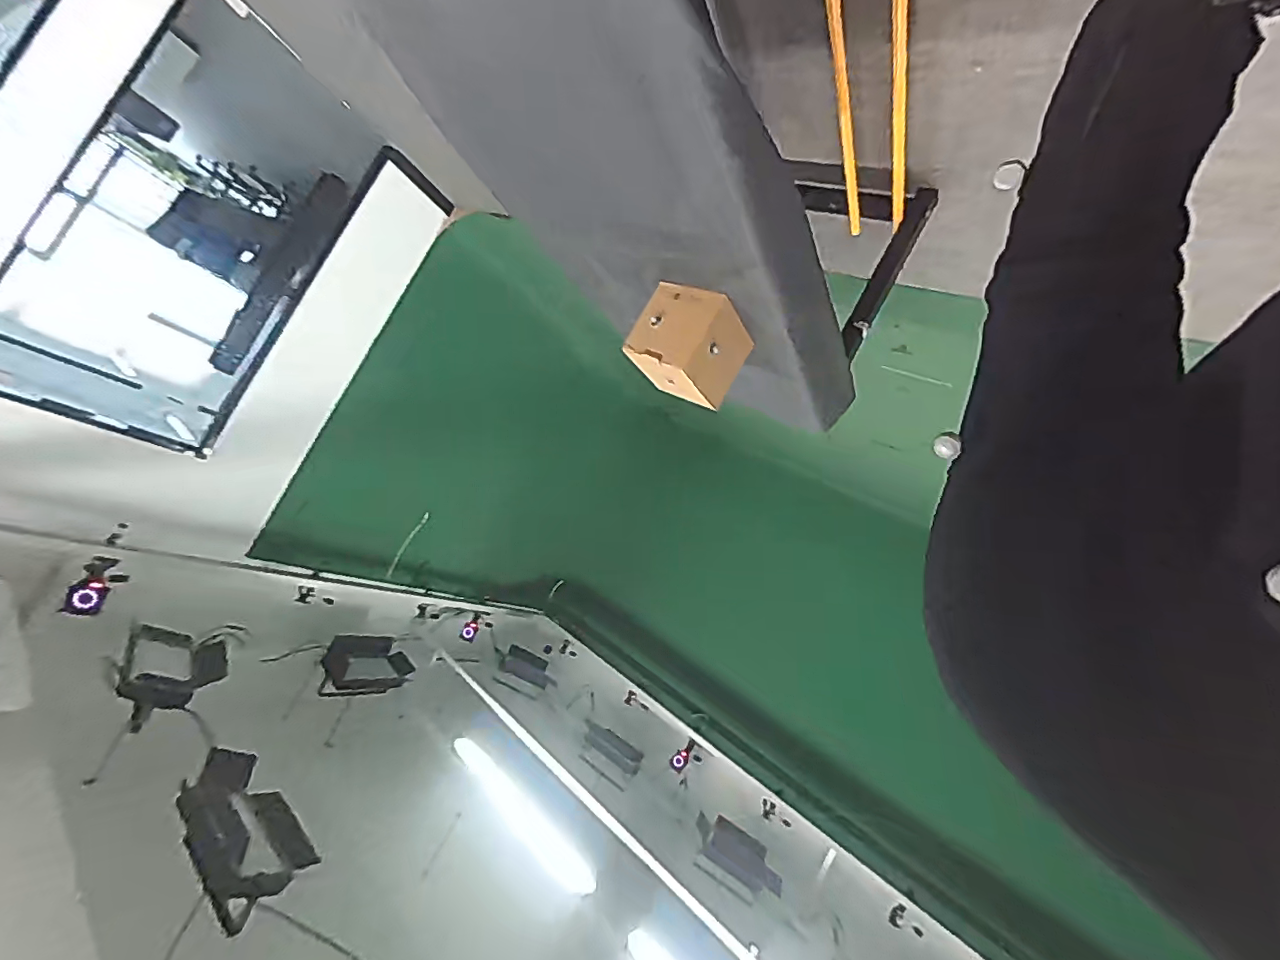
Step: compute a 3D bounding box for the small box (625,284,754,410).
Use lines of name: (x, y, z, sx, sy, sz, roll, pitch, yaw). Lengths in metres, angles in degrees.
small box: (0.106, -0.275, 1.113, 0.168, 0.176, 0.179, 29, 177, 36)
